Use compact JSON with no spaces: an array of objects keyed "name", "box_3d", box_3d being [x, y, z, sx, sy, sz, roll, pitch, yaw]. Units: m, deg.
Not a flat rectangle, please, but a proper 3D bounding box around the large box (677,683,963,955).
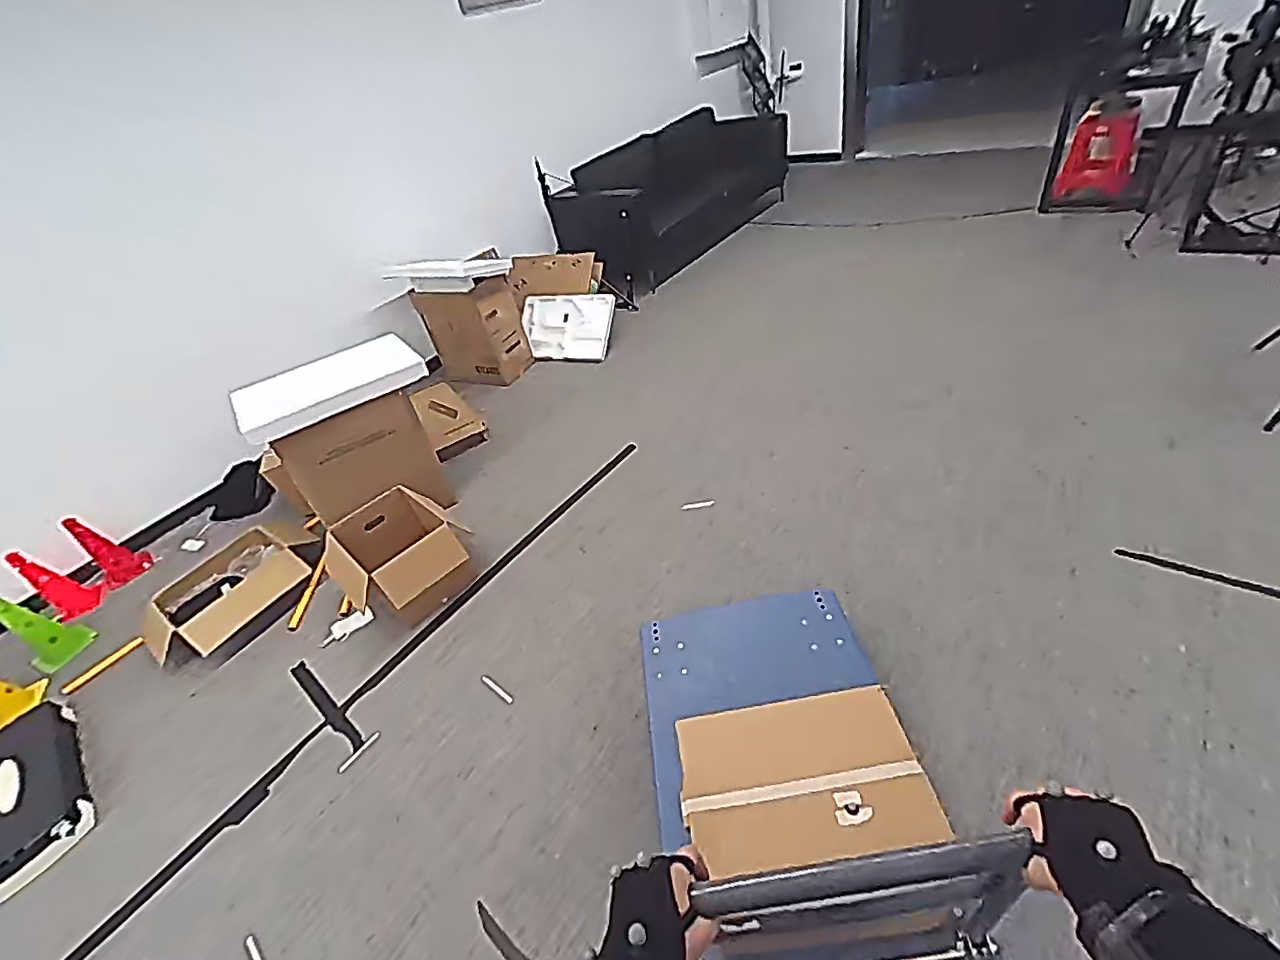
[{"name":"large box","box_3d":[0.305,0.640,1.025,0.408,0.320,0.320,-11,39,2]}]
